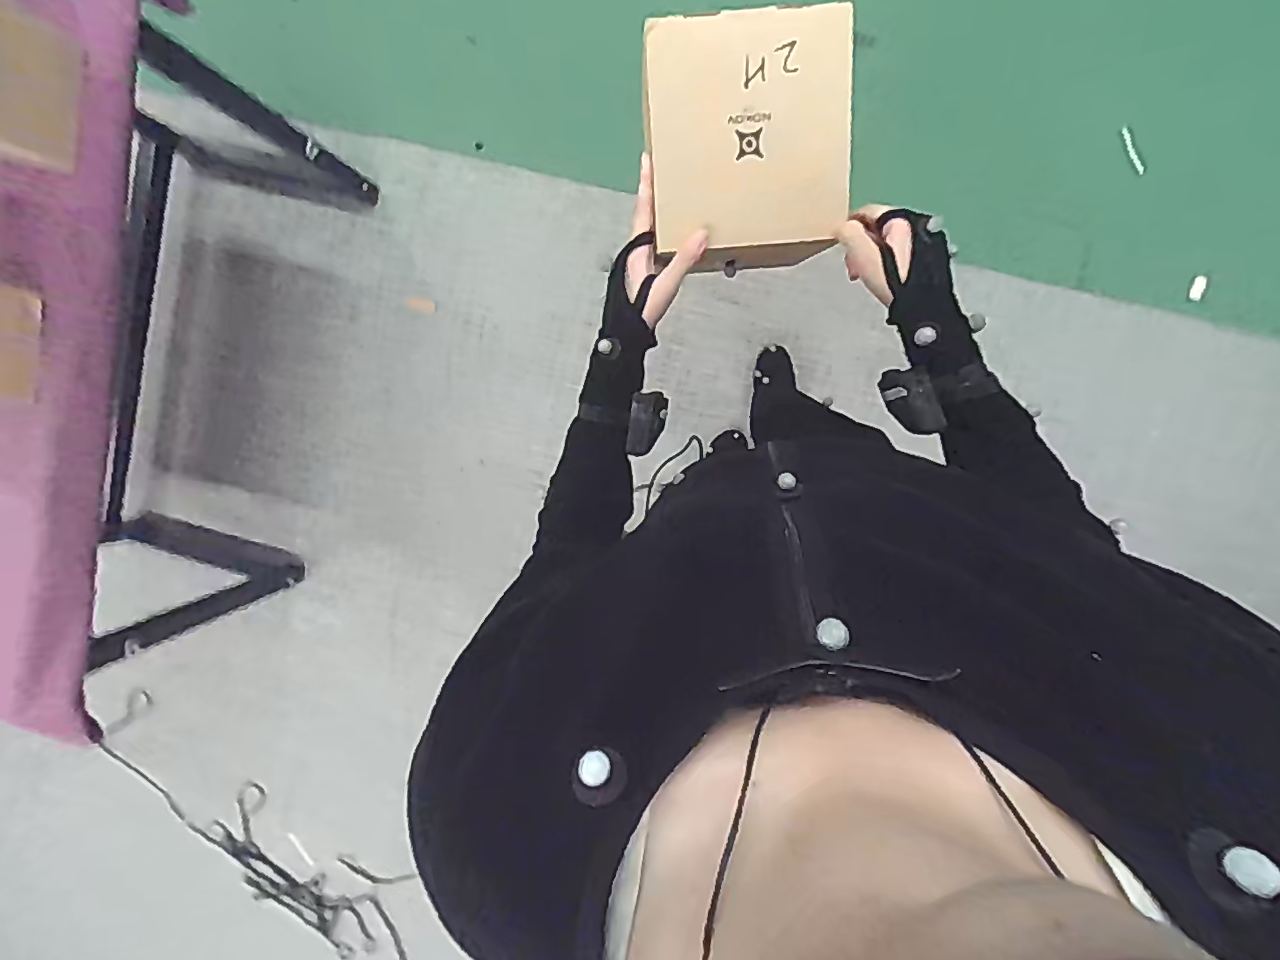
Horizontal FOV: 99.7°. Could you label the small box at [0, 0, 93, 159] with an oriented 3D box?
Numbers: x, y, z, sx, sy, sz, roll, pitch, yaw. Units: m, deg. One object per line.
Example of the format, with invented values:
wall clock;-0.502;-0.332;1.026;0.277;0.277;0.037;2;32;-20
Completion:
small box;-0.895;-0.565;0.723;0.168;0.176;0.179;14;98;3
